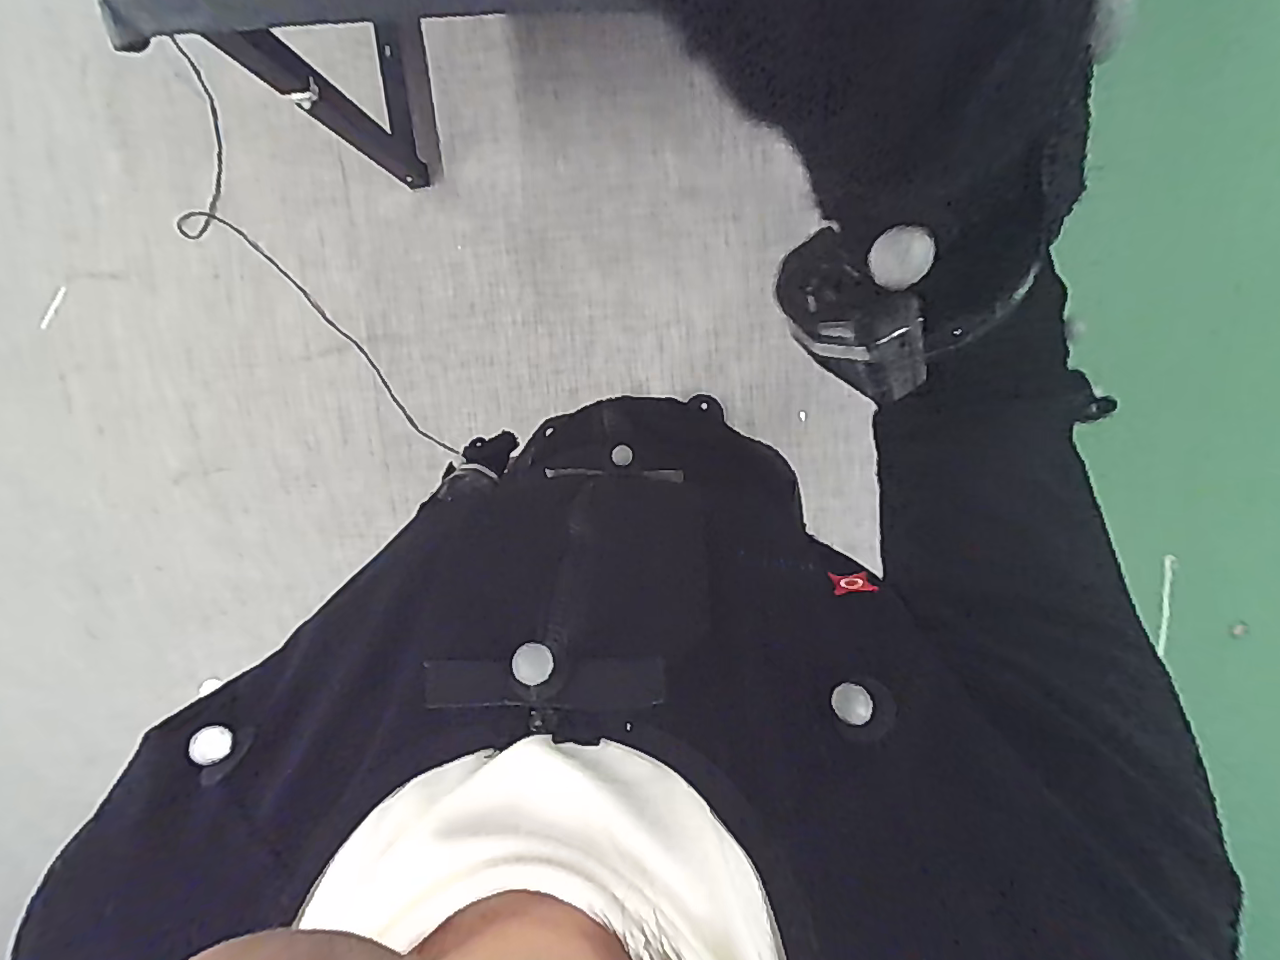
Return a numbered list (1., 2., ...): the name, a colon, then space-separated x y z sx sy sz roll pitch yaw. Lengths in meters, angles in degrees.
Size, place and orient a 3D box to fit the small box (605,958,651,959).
1. small box: -0.047 1.576 1.612 0.179 0.176 0.168 -6 101 5
